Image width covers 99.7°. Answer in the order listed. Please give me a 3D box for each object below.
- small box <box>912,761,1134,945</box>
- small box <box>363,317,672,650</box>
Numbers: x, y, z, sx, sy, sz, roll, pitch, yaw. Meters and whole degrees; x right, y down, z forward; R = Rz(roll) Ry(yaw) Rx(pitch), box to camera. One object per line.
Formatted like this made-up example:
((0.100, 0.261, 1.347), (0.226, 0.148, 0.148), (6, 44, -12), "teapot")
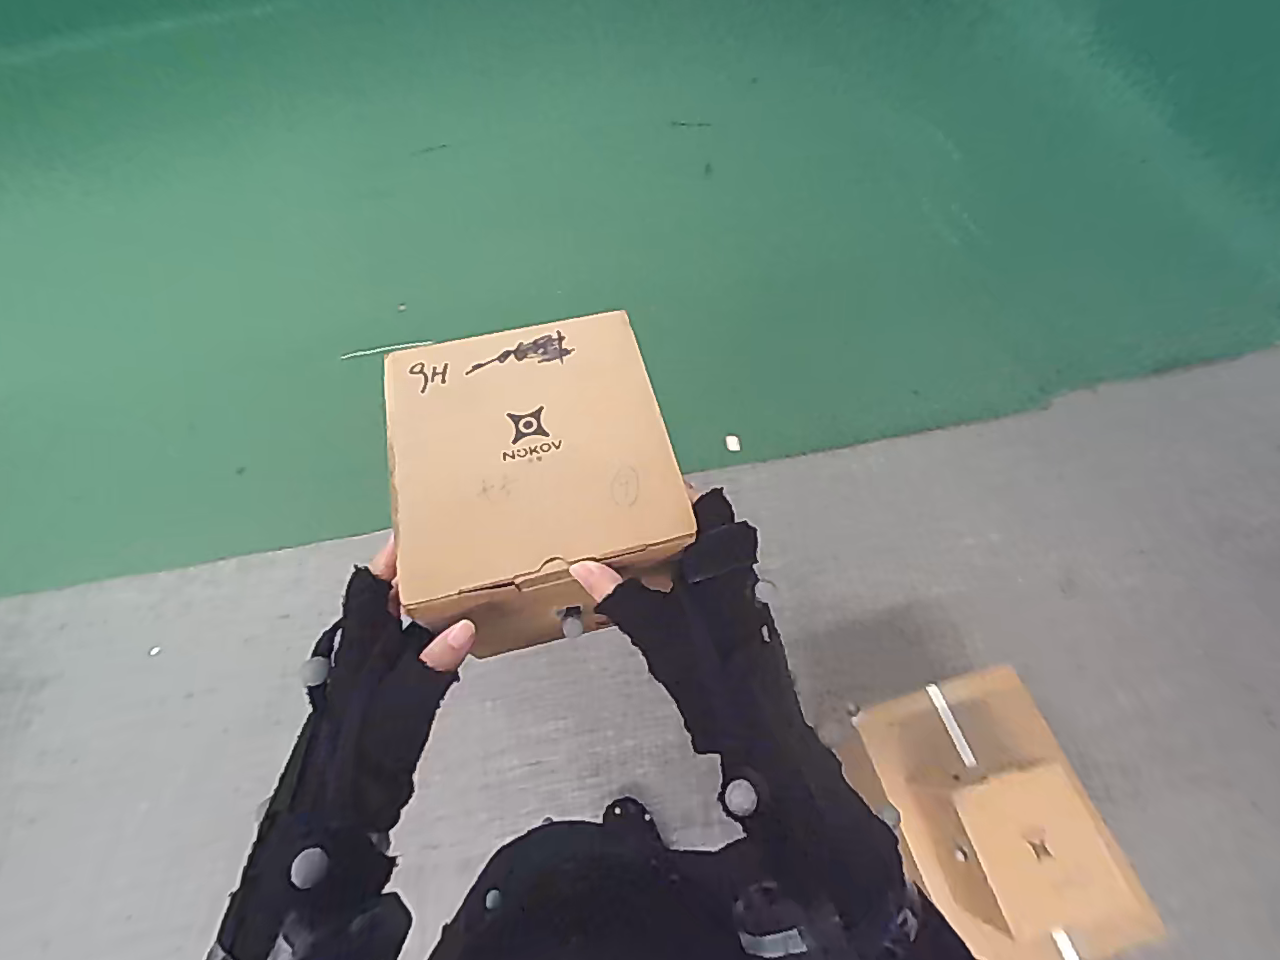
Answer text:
((0.534, 0.525, 0.789), (0.168, 0.176, 0.179), (-15, 65, -1), "small box")
((-0.080, 0.016, 0.396), (0.168, 0.176, 0.179), (-13, 65, -8), "small box")
